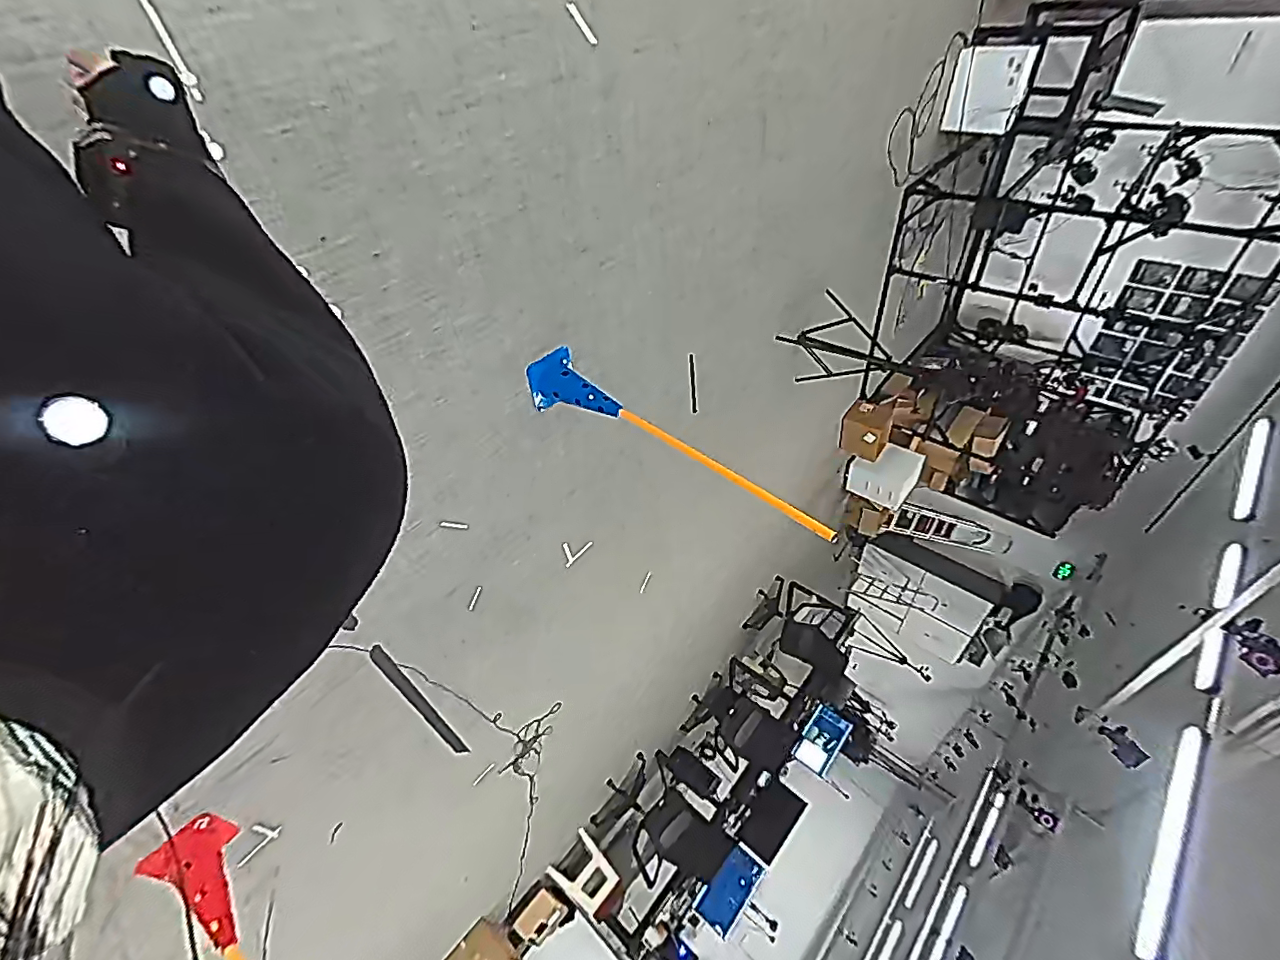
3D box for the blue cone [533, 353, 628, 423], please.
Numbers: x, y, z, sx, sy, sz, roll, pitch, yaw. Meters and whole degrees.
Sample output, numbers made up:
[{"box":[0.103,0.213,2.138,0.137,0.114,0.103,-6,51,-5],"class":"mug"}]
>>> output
[{"box":[-0.190,-0.294,1.912,0.193,0.380,0.192,-38,142,-32],"class":"blue cone"}]
